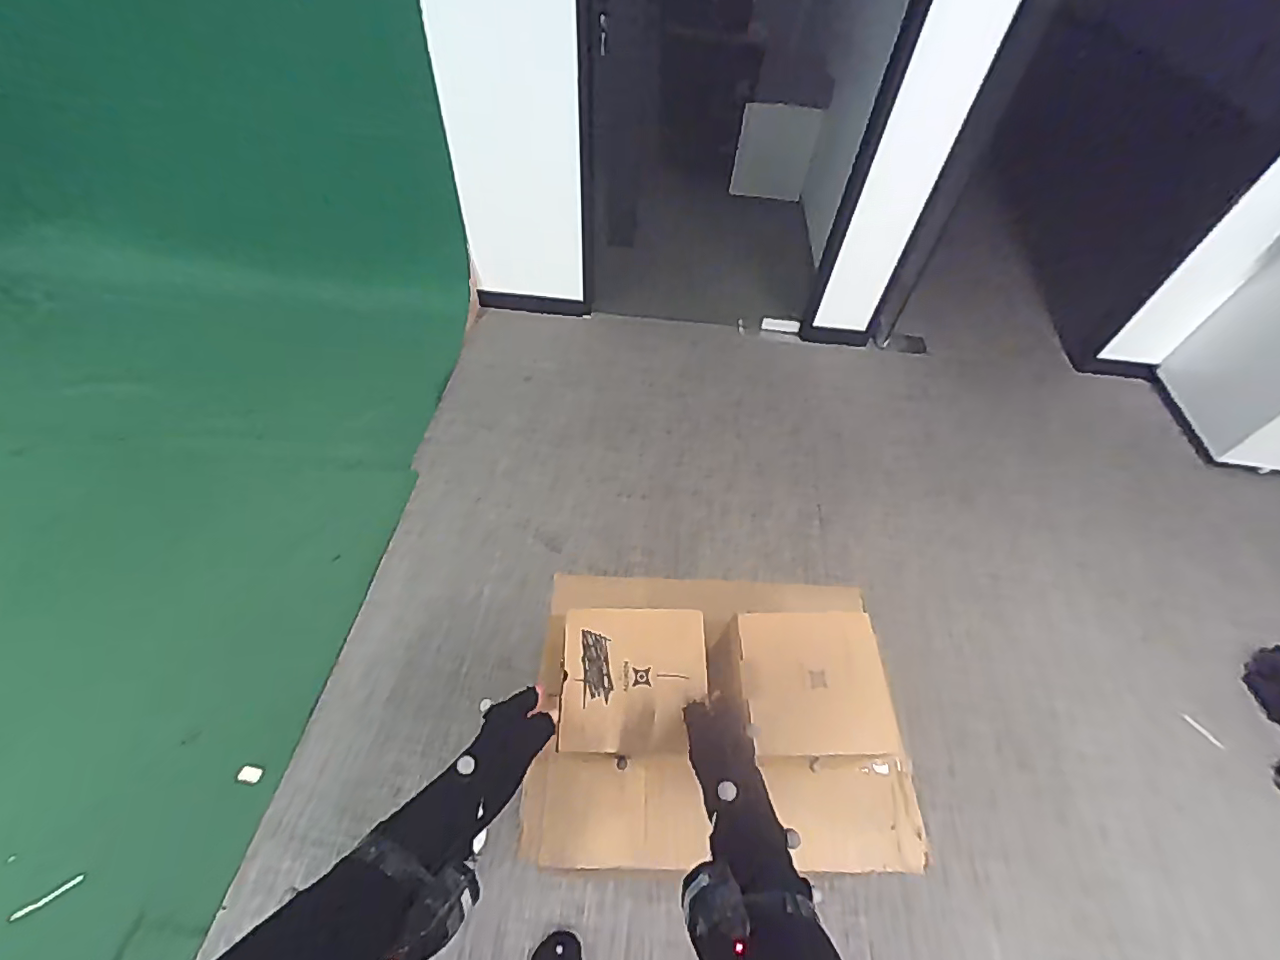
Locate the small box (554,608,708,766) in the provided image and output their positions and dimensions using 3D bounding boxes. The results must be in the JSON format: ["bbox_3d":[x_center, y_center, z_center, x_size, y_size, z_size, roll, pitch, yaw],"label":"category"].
[{"bbox_3d":[-0.013,0.277,0.710,0.179,0.176,0.168,2,58,-3],"label":"small box"}]

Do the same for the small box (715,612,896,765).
[{"bbox_3d":[0.202,0.283,0.724,0.179,0.176,0.168,1,59,-6],"label":"small box"}]
